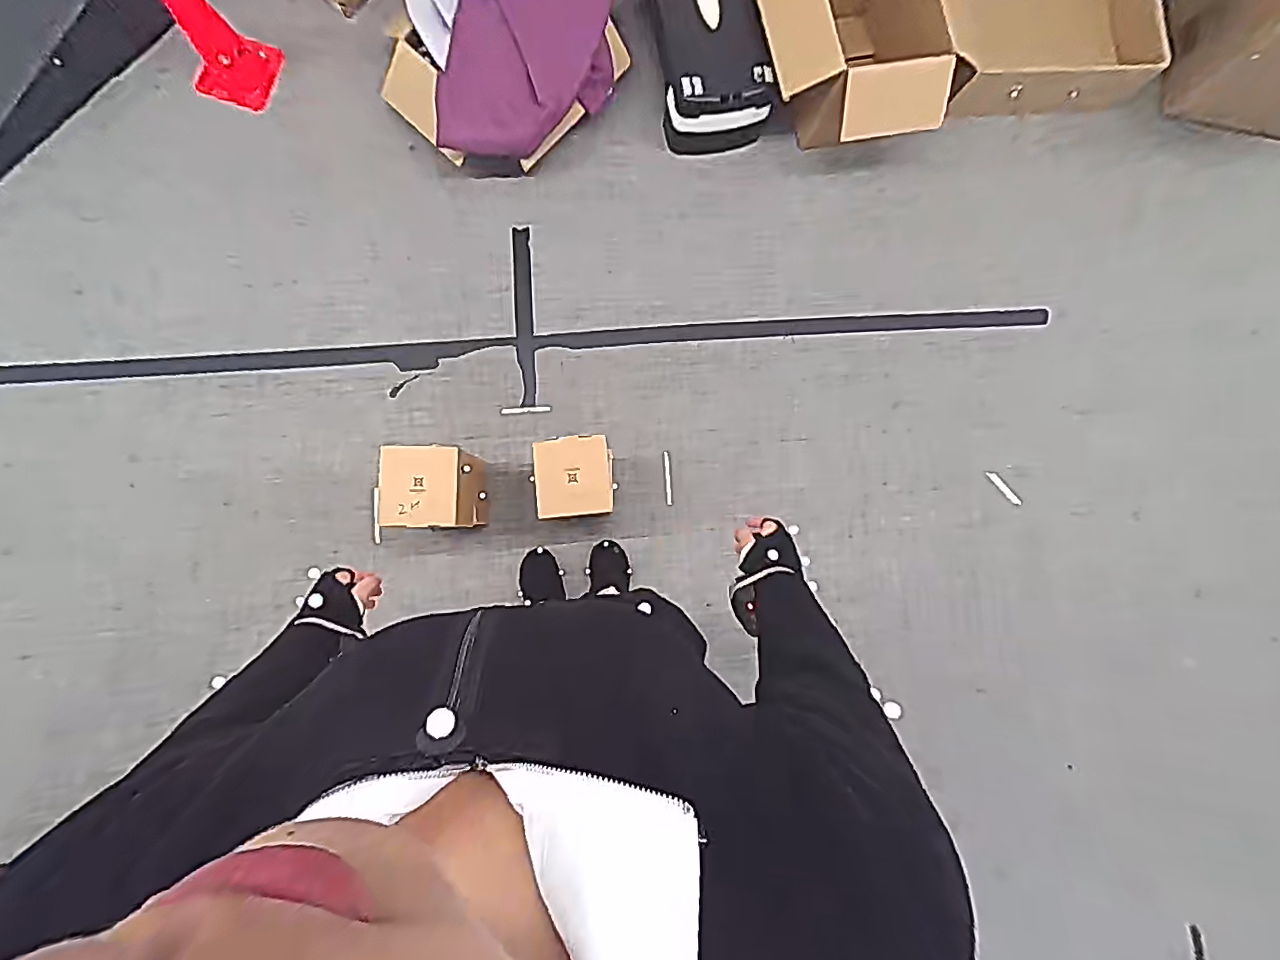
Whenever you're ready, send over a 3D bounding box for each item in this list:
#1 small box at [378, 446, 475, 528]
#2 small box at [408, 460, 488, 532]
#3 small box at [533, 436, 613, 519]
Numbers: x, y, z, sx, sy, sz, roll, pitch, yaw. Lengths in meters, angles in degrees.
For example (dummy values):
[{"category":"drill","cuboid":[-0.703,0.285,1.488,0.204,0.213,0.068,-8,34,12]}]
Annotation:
[{"category":"small box","cuboid":[-0.481,0.021,1.241,0.168,0.176,0.179,1,86,-4]},{"category":"small box","cuboid":[-0.496,0.038,1.405,0.168,0.176,0.179,-4,87,-5]},{"category":"small box","cuboid":[-0.155,-0.001,1.275,0.168,0.176,0.179,-6,87,-4]}]
